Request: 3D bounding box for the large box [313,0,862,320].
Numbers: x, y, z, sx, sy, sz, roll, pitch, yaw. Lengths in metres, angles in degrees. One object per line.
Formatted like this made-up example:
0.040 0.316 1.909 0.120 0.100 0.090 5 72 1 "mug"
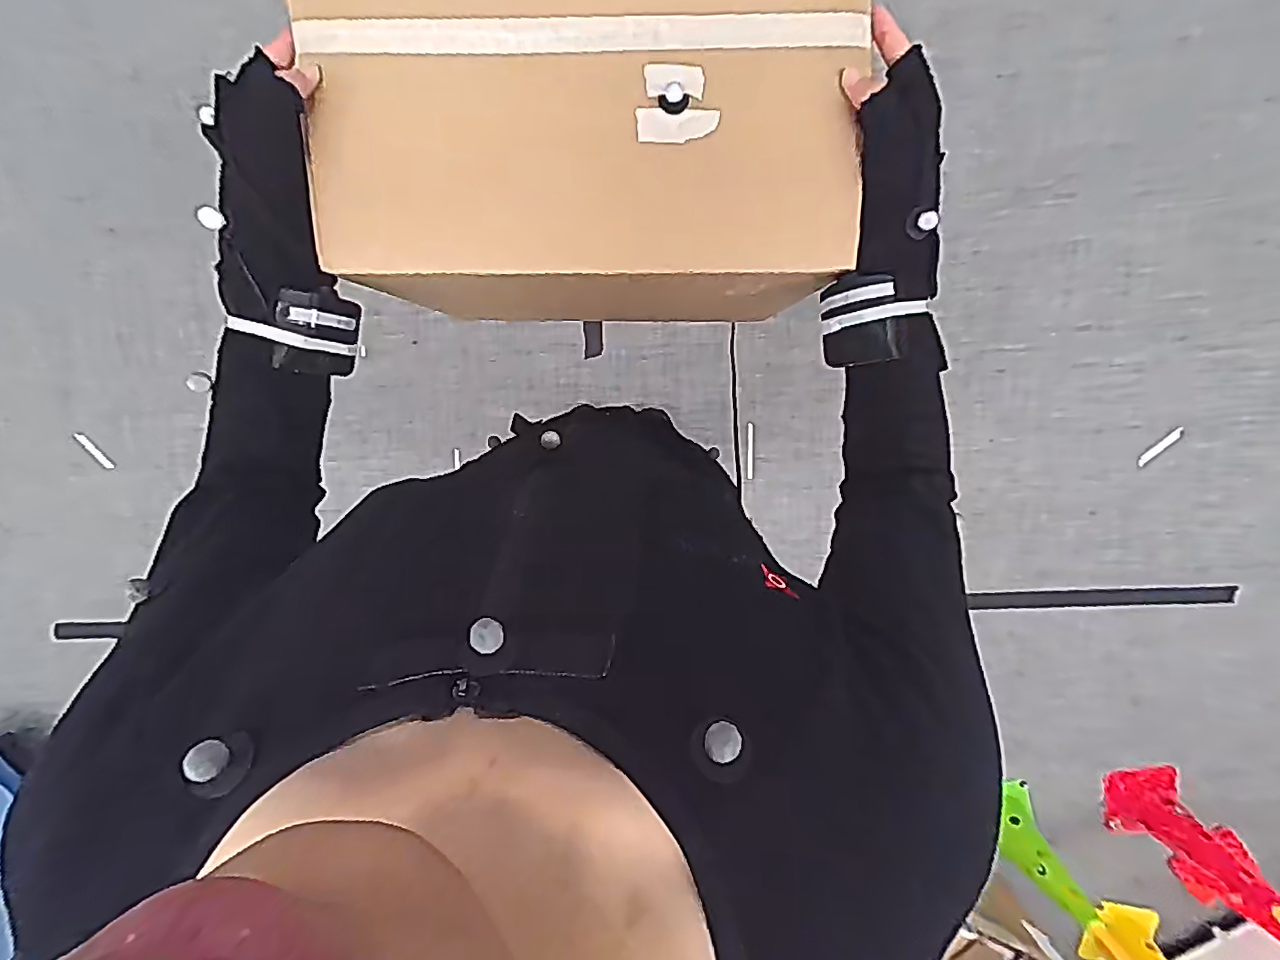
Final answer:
-0.039 -0.343 0.539 0.408 0.320 0.320 0 100 0 "large box"
